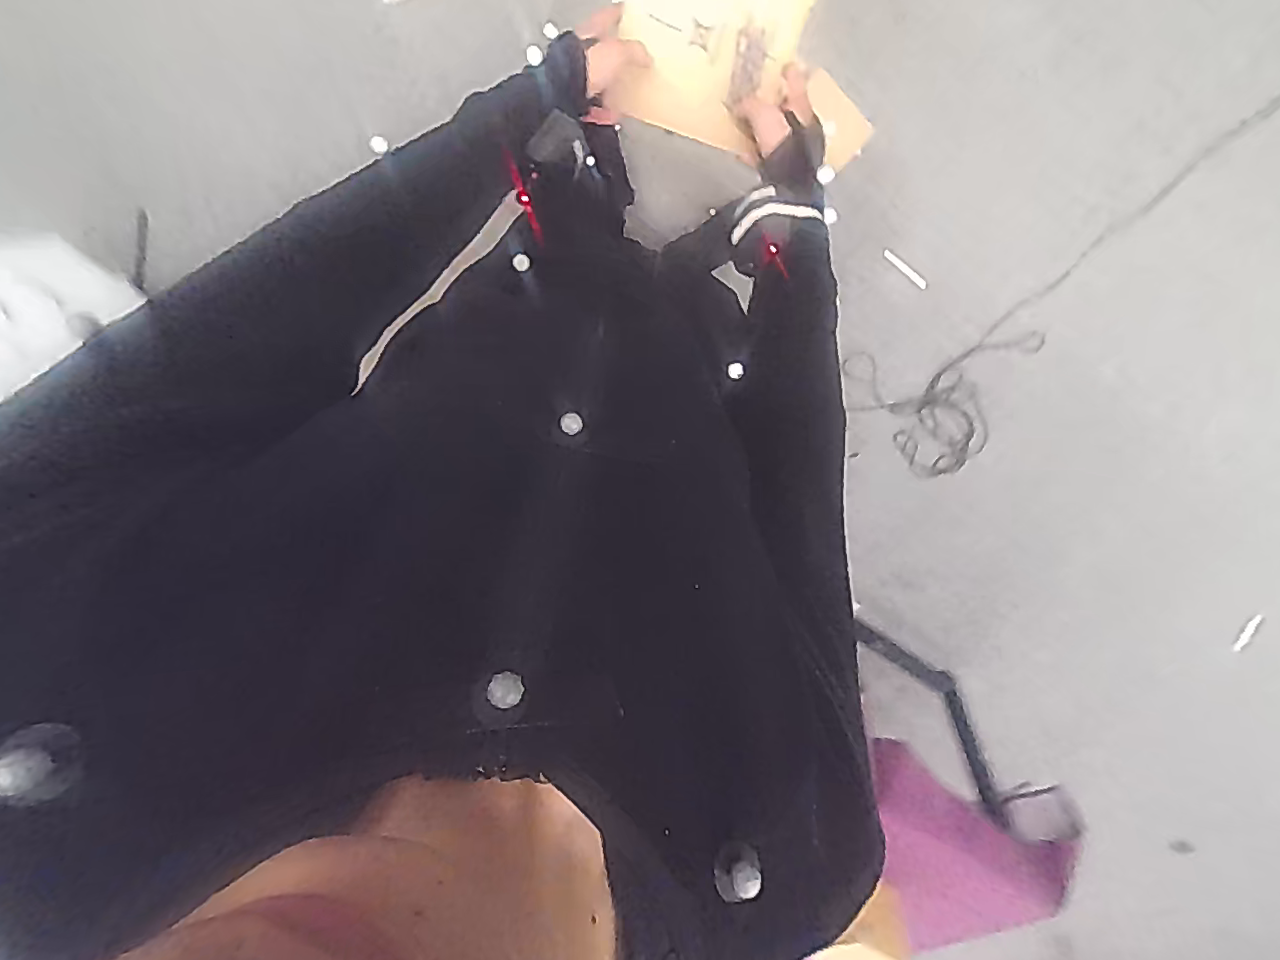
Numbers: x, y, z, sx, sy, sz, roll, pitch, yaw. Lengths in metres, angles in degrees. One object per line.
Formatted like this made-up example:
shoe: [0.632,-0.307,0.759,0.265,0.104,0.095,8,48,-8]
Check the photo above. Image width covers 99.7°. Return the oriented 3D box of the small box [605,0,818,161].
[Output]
small box: [0.069,-0.477,0.591,0.179,0.176,0.168,13,127,-9]

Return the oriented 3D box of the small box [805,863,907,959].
small box: [0.543,1.118,1.375,0.179,0.176,0.168,34,121,-9]
